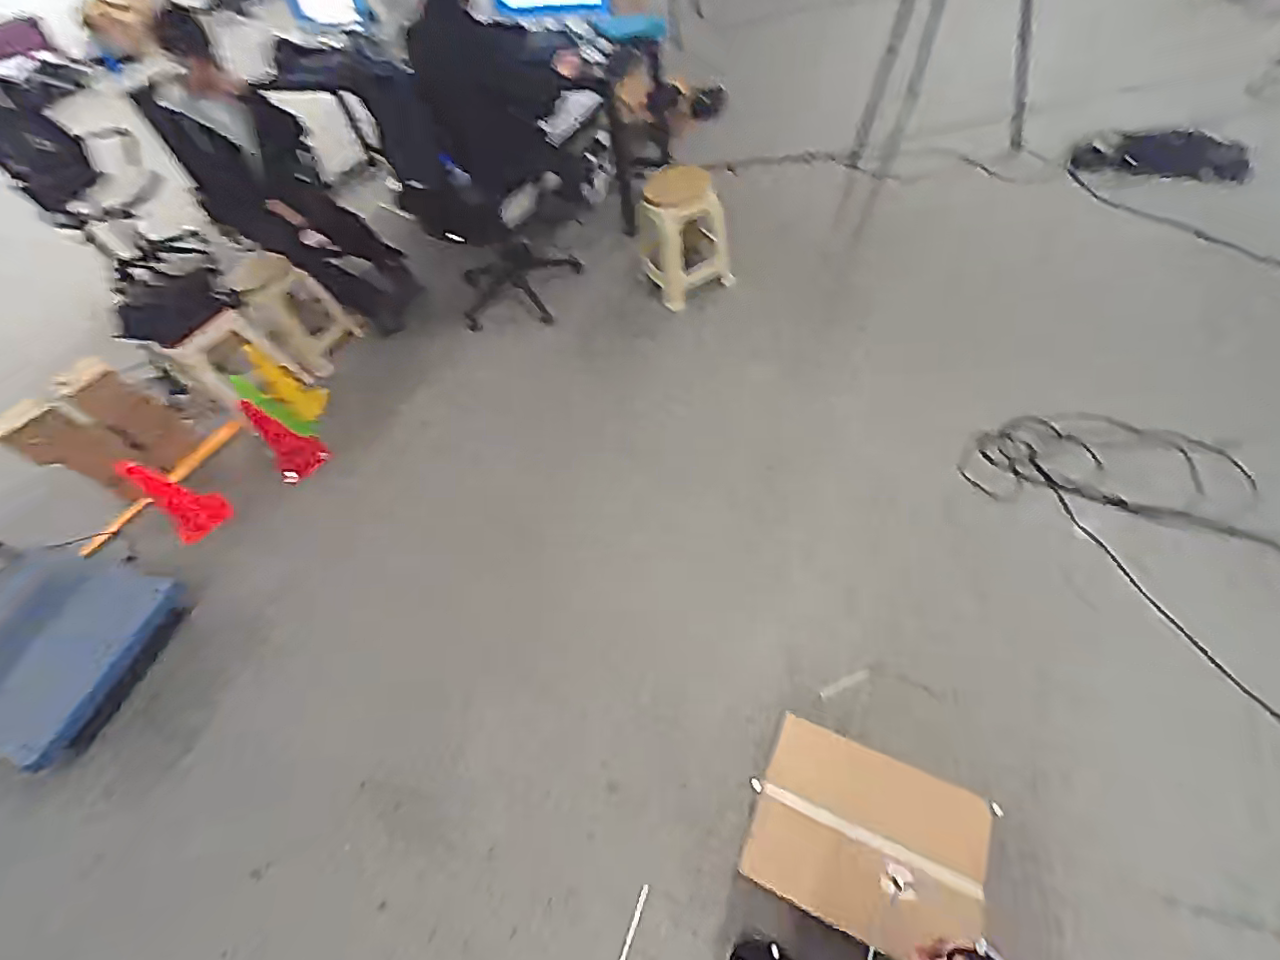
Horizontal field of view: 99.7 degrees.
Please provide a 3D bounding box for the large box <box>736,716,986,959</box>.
[{"bbox_3d":[0.442,0.764,1.149,0.408,0.320,0.320,17,59,20],"label":"large box"}]
